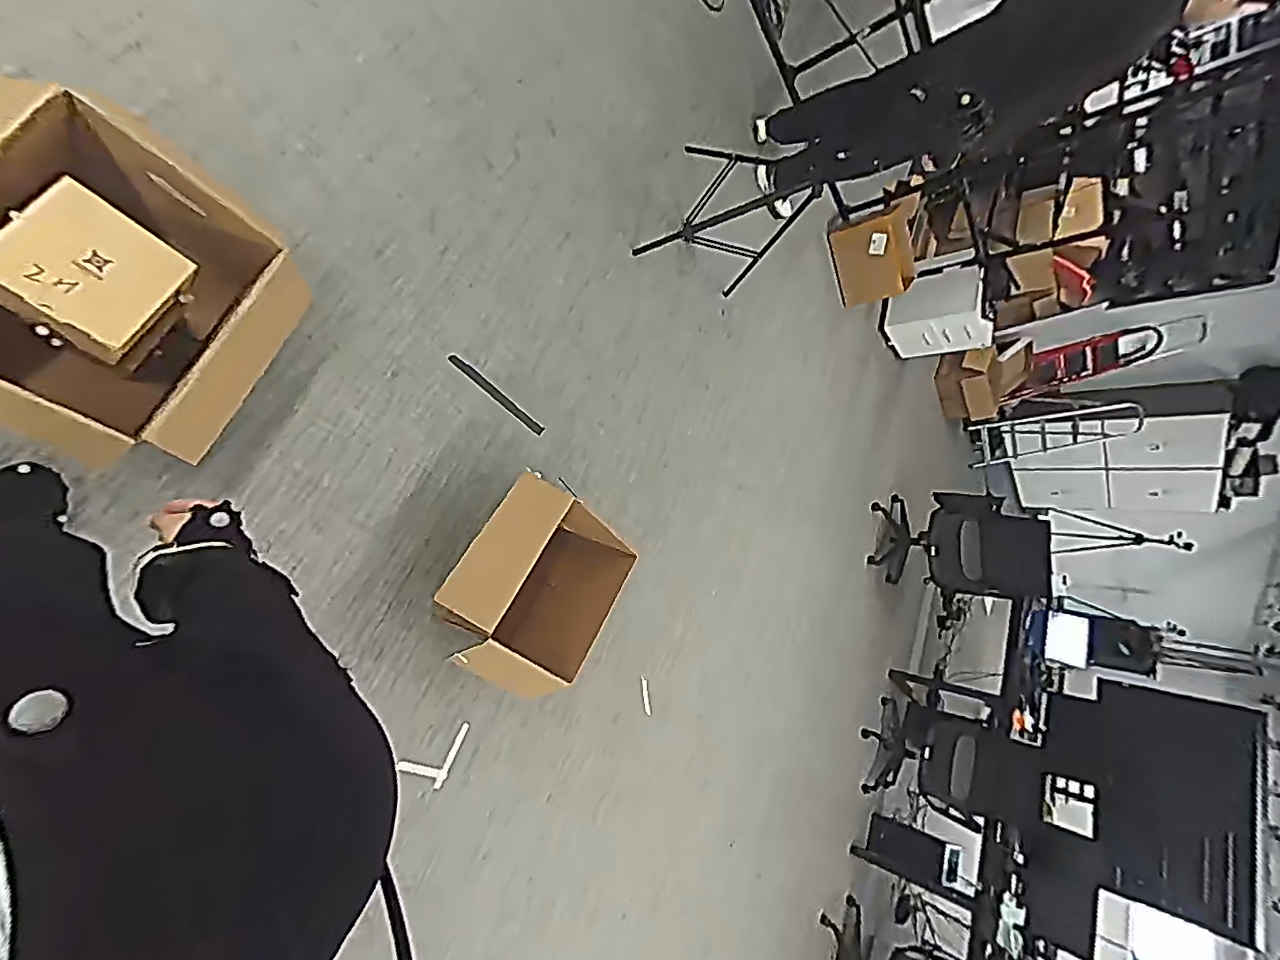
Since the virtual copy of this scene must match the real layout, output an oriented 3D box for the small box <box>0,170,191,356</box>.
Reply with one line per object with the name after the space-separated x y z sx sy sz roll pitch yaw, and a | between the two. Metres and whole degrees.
-0.826 -0.309 0.804 0.168 0.176 0.179 42 62 -38 | small box
